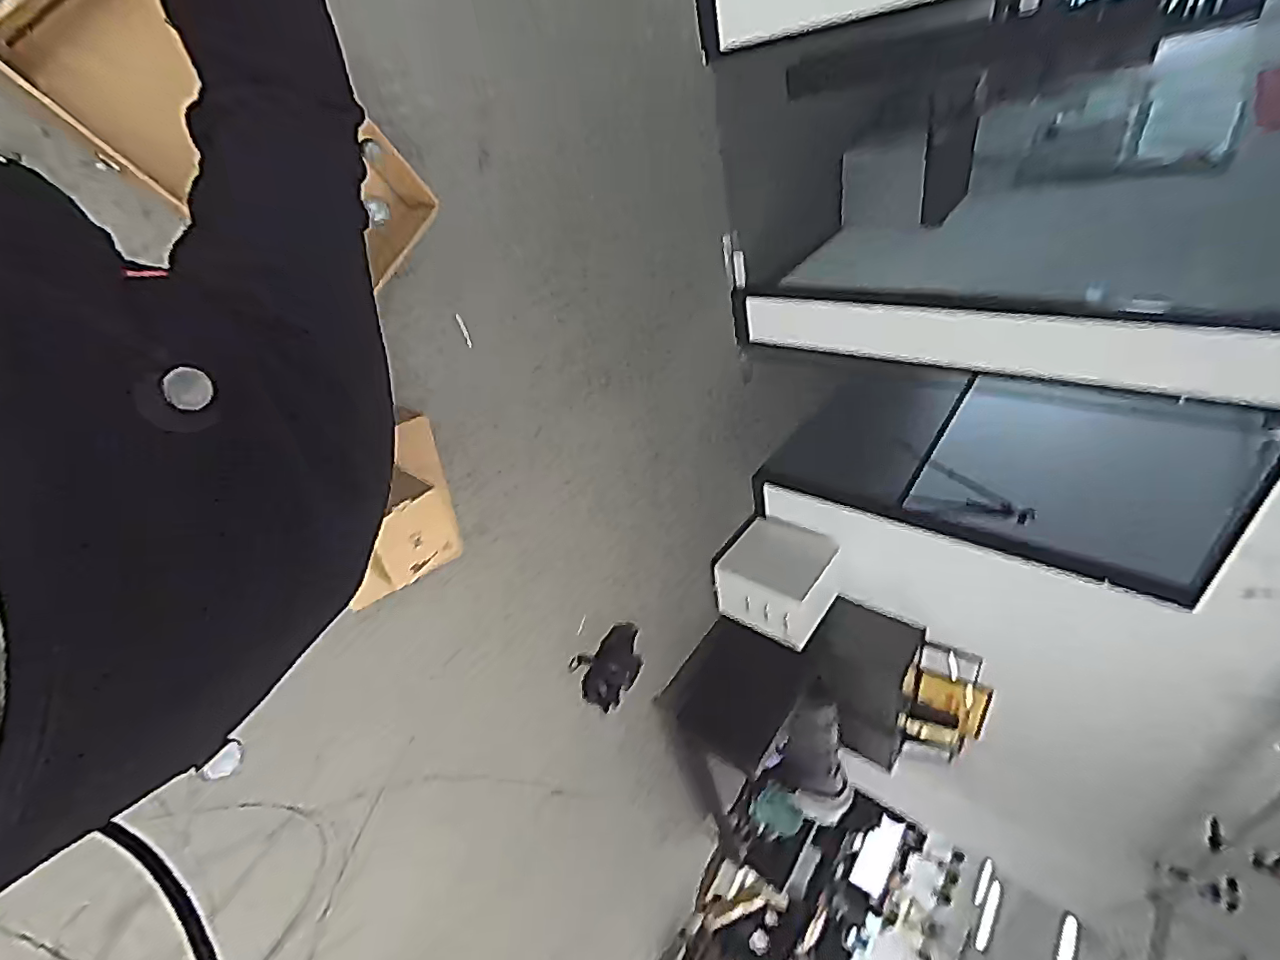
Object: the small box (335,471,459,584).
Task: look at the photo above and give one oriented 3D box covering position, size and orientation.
[{"bbox_3d":[-0.544,0.096,1.209,0.168,0.176,0.179,-37,132,-36],"label":"small box"}]
